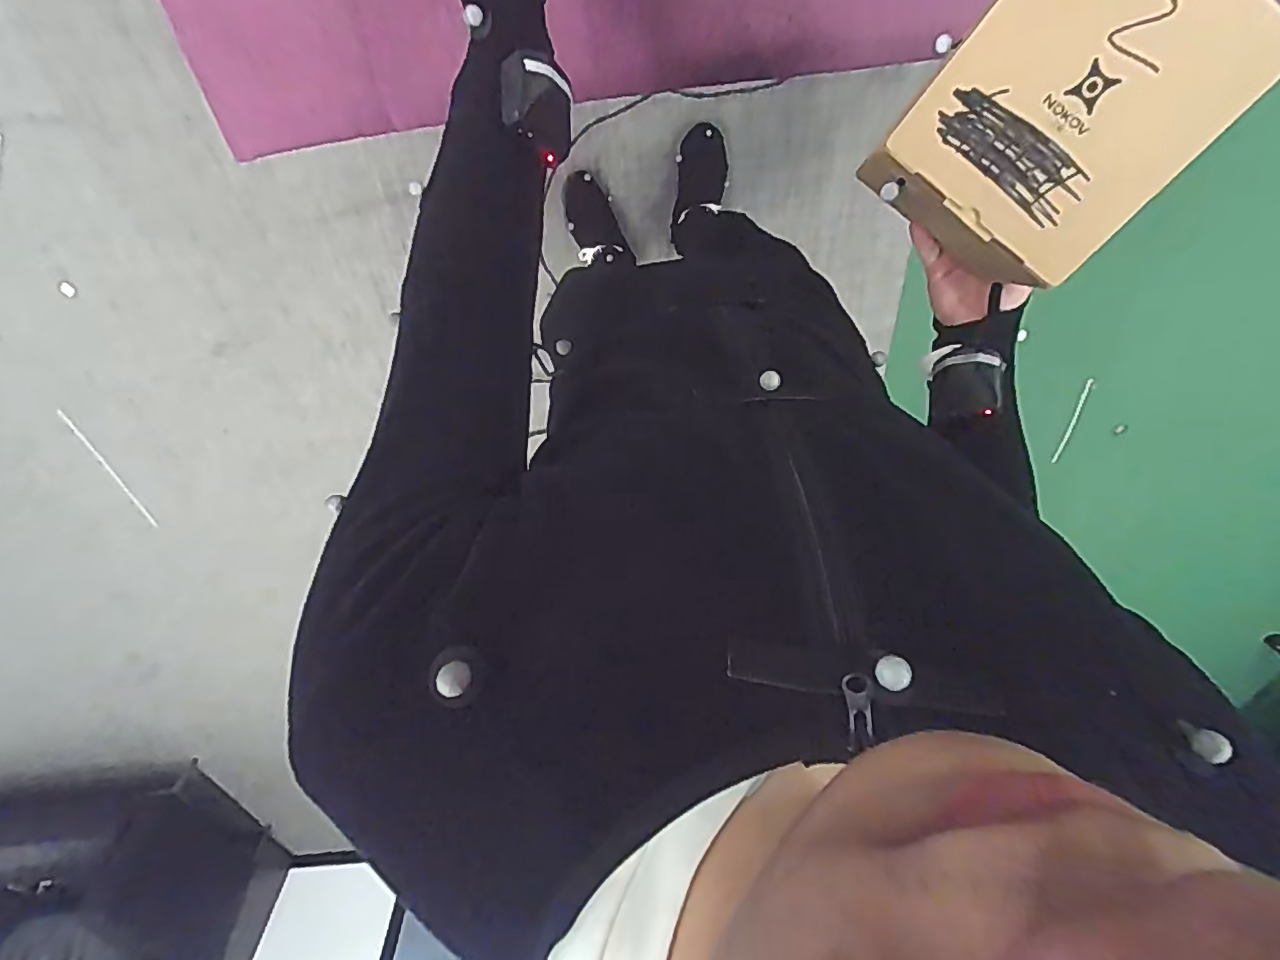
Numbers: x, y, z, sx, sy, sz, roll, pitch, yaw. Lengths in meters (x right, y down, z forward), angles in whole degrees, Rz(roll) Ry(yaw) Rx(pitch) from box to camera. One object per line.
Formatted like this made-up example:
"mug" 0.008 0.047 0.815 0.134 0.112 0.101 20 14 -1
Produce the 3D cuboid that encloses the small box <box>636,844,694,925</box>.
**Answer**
"small box" 0.078 1.346 1.799 0.168 0.176 0.179 4 123 -5

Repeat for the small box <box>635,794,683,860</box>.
"small box" 0.068 1.251 1.932 0.168 0.176 0.179 -4 124 1
